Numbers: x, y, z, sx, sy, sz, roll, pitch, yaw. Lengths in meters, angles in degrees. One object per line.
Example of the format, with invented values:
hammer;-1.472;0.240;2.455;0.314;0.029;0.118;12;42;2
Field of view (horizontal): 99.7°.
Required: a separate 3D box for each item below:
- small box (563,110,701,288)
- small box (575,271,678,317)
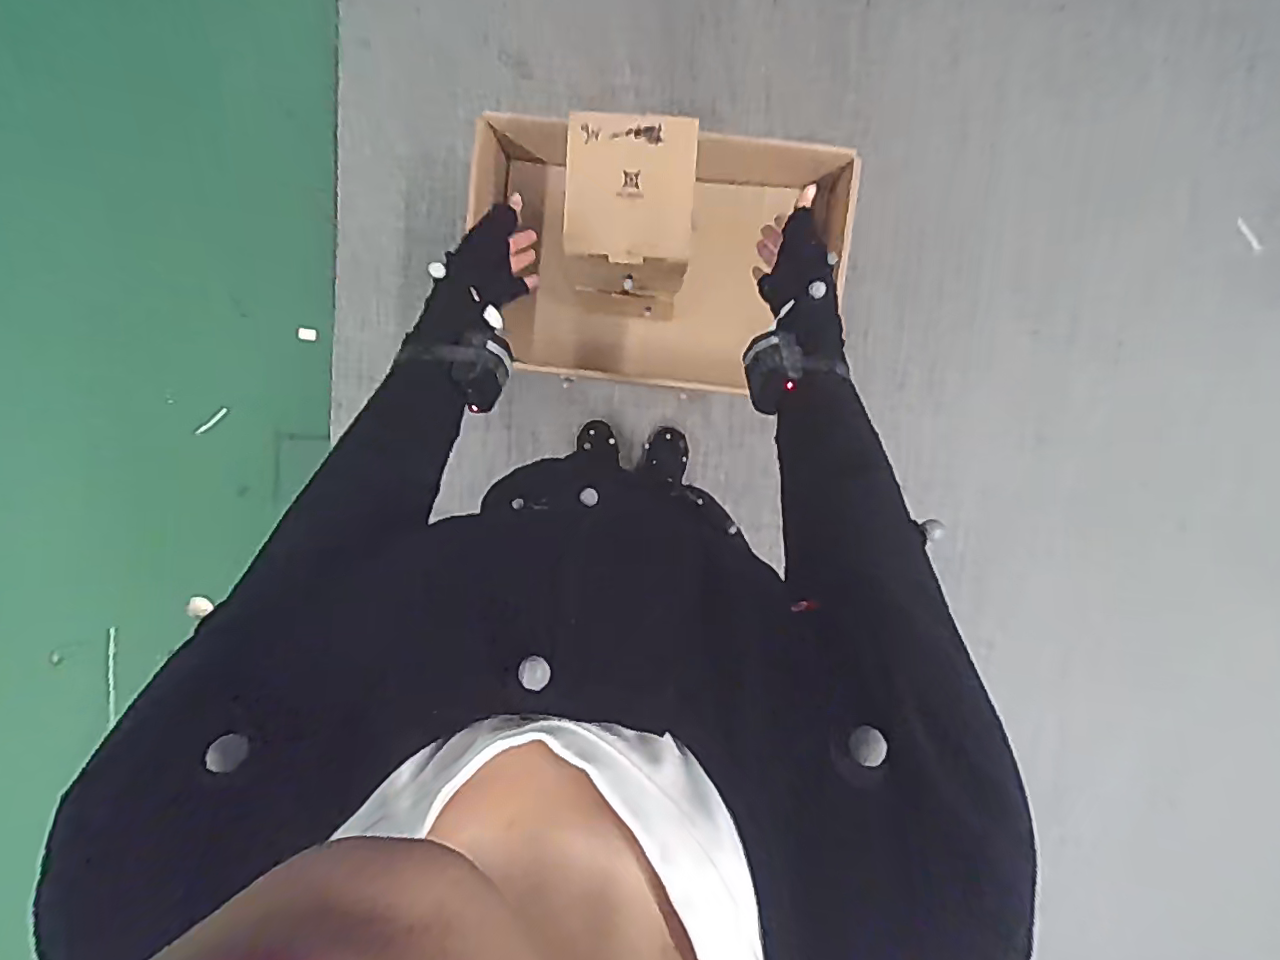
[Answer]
small box;-0.010;-0.379;0.762;0.168;0.176;0.179;4;96;0
small box;-0.010;-0.388;0.926;0.168;0.176;0.179;6;94;0
